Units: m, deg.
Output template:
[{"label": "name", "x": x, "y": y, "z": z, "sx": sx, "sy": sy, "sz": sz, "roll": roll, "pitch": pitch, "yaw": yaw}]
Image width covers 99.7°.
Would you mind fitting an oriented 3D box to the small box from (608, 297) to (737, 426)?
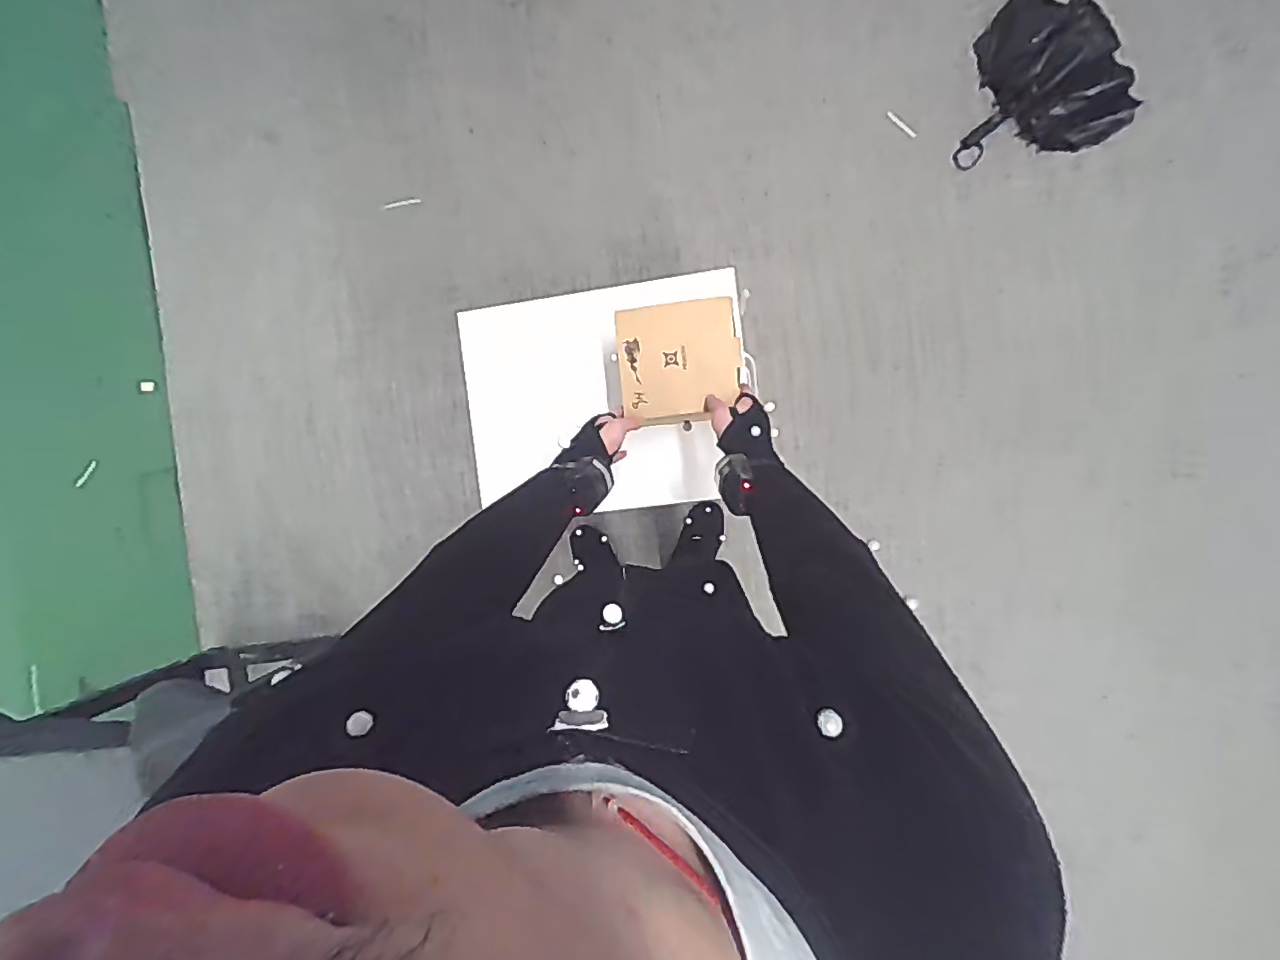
[{"label": "small box", "x": 0.052, "y": -0.177, "z": 0.854, "sx": 0.179, "sy": 0.176, "sz": 0.168, "roll": -5, "pitch": 92, "yaw": 5}]
